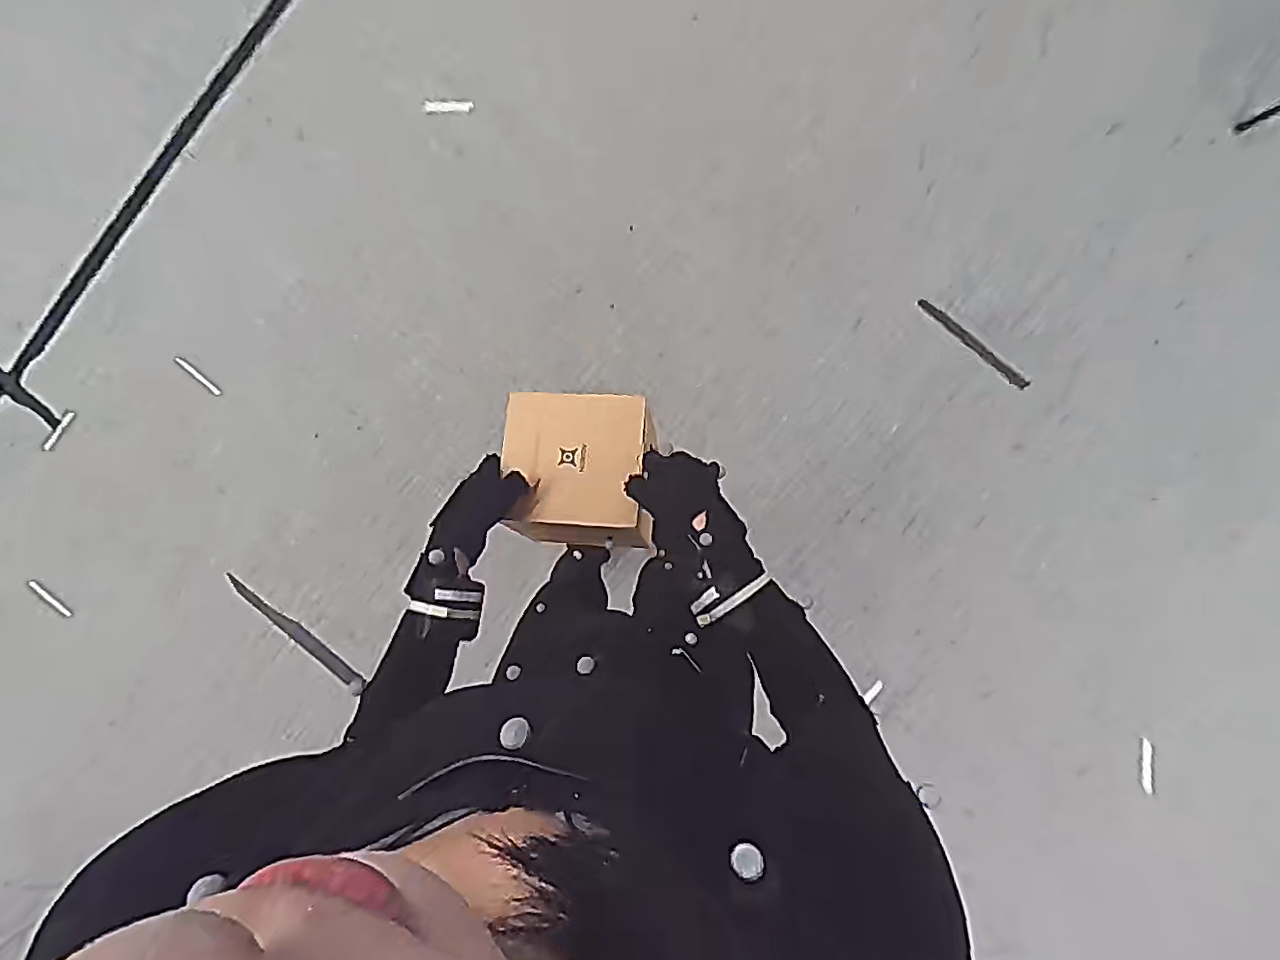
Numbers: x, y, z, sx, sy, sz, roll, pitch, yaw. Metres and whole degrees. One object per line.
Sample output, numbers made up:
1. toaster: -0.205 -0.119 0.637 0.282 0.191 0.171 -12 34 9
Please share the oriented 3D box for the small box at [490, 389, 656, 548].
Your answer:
1. small box: -0.073 -0.007 0.704 0.179 0.176 0.168 2 74 7
